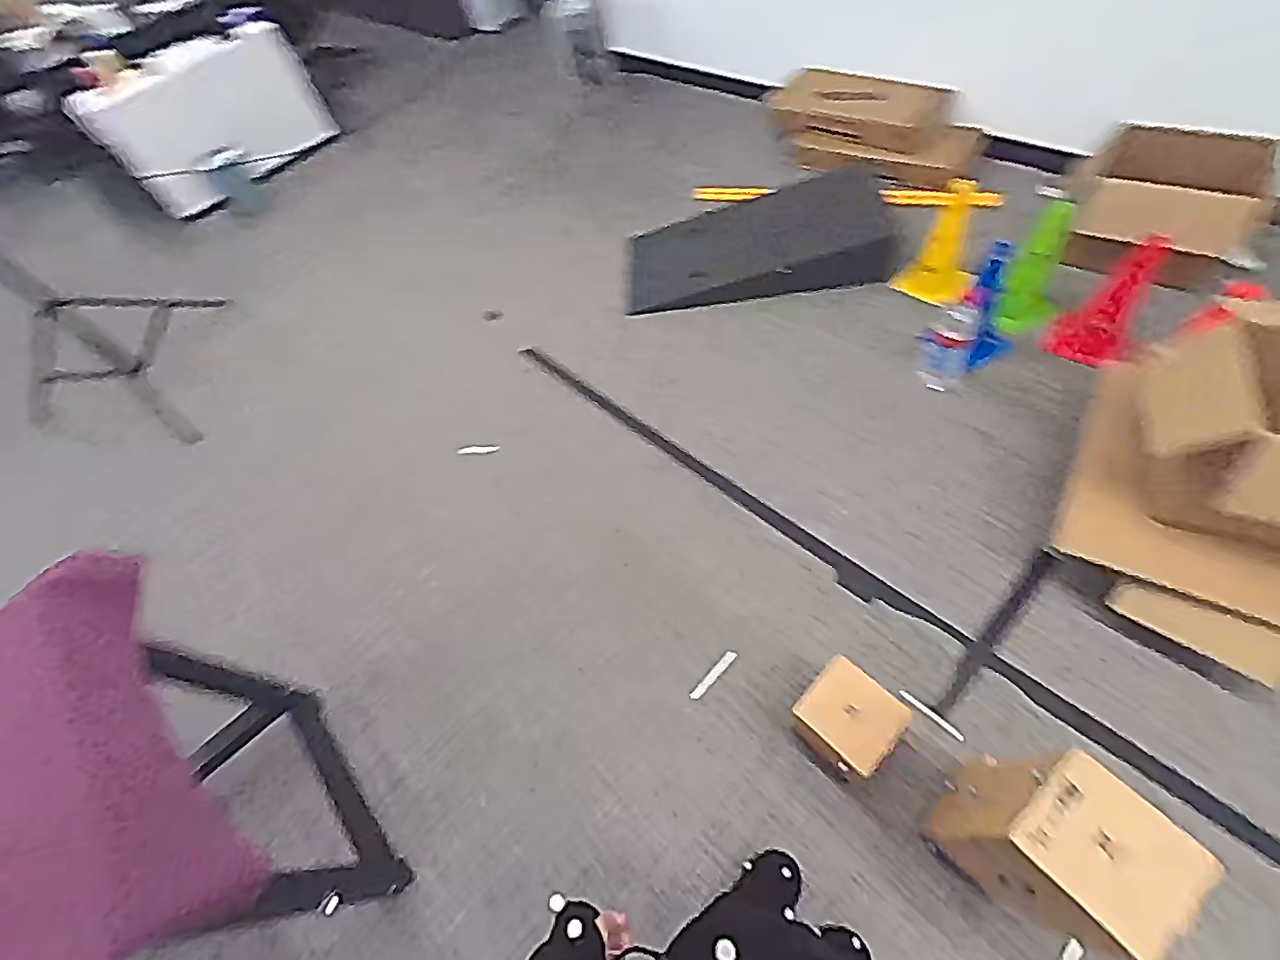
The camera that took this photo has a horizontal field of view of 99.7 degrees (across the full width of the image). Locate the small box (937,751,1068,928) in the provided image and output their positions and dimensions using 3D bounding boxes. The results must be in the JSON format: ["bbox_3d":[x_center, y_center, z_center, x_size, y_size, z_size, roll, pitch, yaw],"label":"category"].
[{"bbox_3d":[0.633,0.588,0.897,0.168,0.176,0.179,-43,61,-15],"label":"small box"}]

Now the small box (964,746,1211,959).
[{"bbox_3d":[0.605,0.505,0.758,0.168,0.176,0.179,-39,61,-14],"label":"small box"}]

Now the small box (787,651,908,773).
[{"bbox_3d":[0.439,0.511,1.178,0.179,0.176,0.168,38,72,28],"label":"small box"}]

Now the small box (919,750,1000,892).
[{"bbox_3d":[0.668,0.659,1.042,0.168,0.176,0.179,37,71,27],"label":"small box"}]
